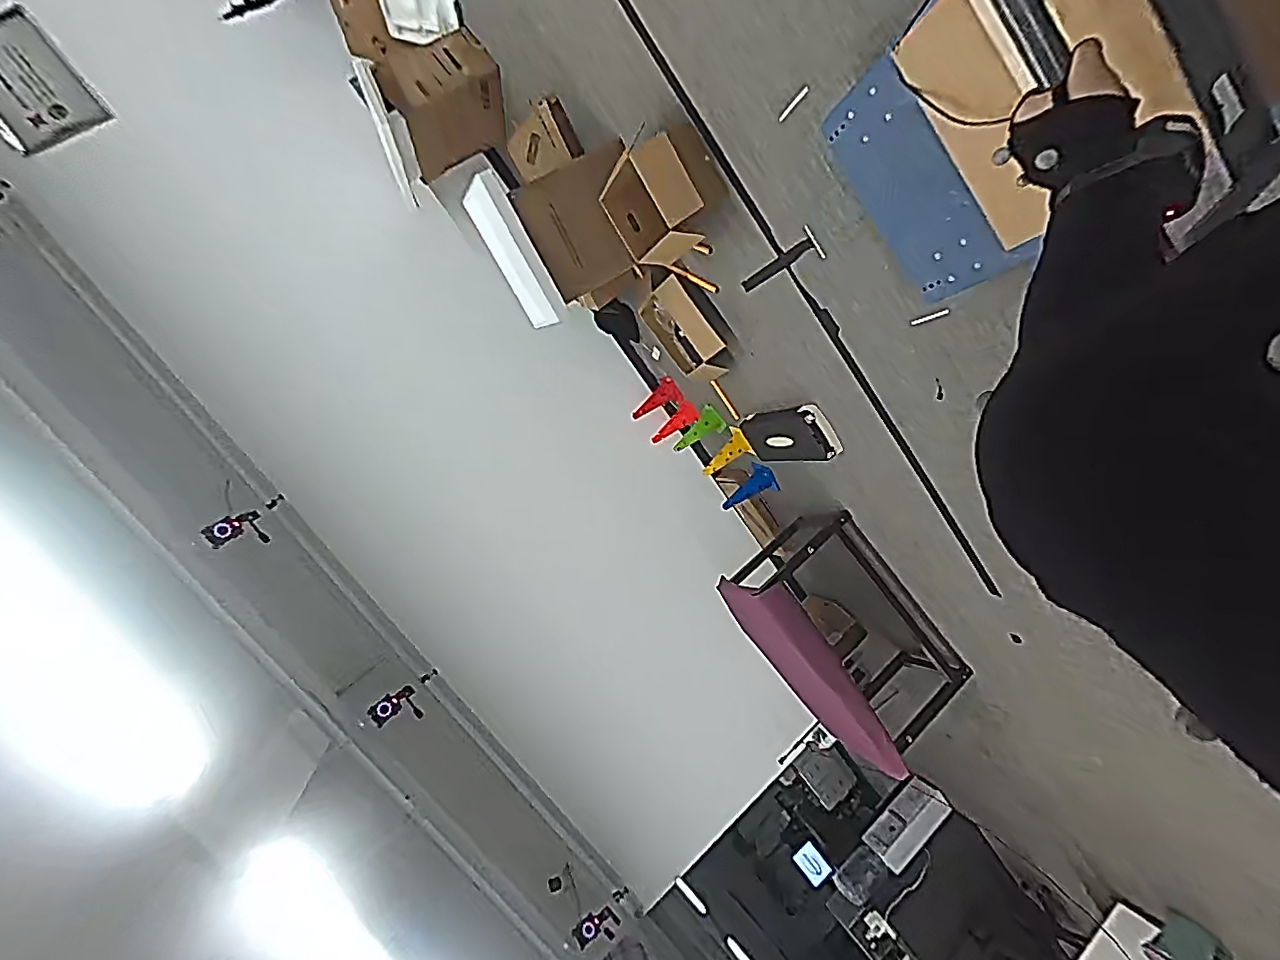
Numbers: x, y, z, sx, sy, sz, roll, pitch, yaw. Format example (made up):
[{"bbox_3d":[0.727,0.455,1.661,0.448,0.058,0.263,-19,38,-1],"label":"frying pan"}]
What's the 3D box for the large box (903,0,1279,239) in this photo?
[{"bbox_3d":[0.716,-0.678,0.830,0.408,0.320,0.320,54,166,-6],"label":"large box"}]
